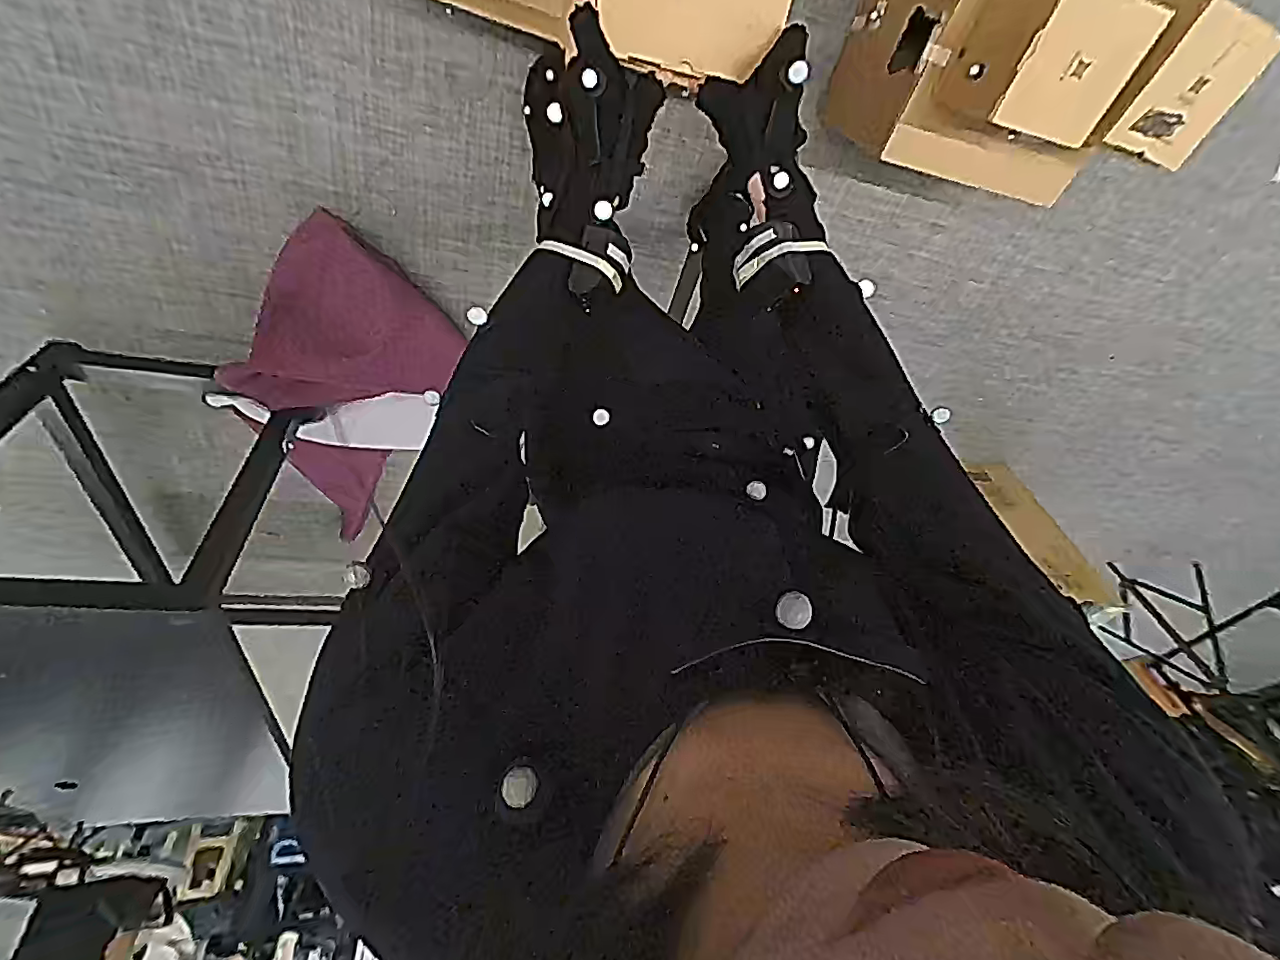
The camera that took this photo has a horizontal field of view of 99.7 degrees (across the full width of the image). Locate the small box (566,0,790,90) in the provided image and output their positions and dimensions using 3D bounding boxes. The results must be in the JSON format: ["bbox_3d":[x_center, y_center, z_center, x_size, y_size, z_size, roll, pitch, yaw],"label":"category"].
[{"bbox_3d":[0.034,-0.471,0.474,0.168,0.176,0.179,-1,129,-19],"label":"small box"}]

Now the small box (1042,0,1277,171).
[{"bbox_3d":[0.780,-0.620,0.841,0.168,0.176,0.179,8,131,-18],"label":"small box"}]

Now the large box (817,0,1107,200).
[{"bbox_3d":[0.618,-0.770,1.009,0.408,0.320,0.320,4,135,-16],"label":"large box"}]
